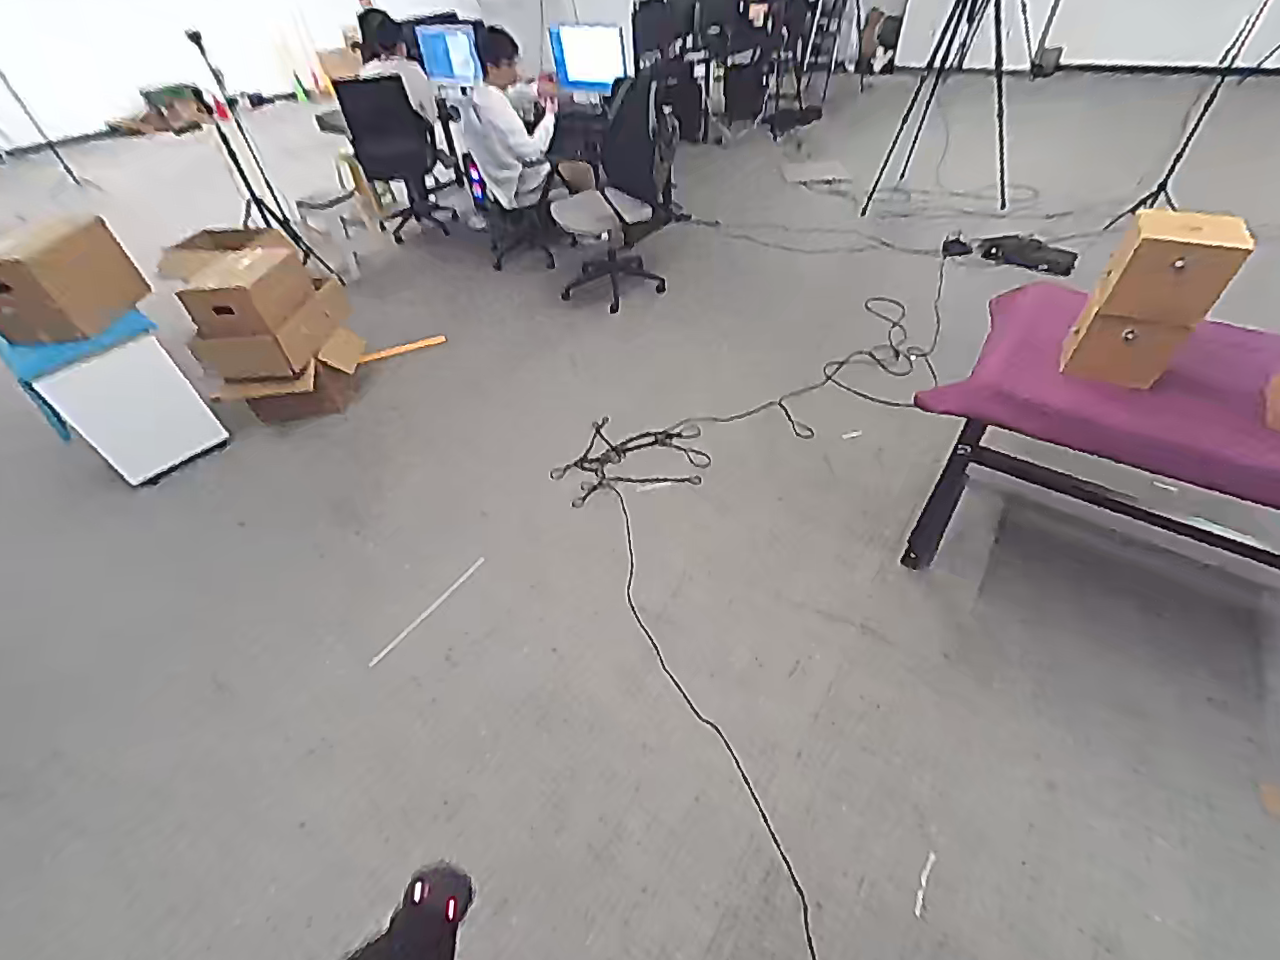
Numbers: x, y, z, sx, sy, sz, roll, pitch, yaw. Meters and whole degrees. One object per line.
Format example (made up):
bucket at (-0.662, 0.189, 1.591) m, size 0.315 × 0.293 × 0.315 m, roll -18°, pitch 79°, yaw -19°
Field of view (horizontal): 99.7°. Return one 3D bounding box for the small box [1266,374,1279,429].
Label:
small box at (1.414, -0.186, 1.076) m, size 0.168 × 0.176 × 0.179 m, roll 27°, pitch 53°, yaw 29°

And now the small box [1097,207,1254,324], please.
small box at (1.111, -0.448, 1.138) m, size 0.179 × 0.176 × 0.168 m, roll 20°, pitch 51°, yaw 24°

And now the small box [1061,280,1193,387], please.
small box at (1.119, -0.338, 1.256) m, size 0.179 × 0.176 × 0.168 m, roll 22°, pitch 51°, yaw 24°
